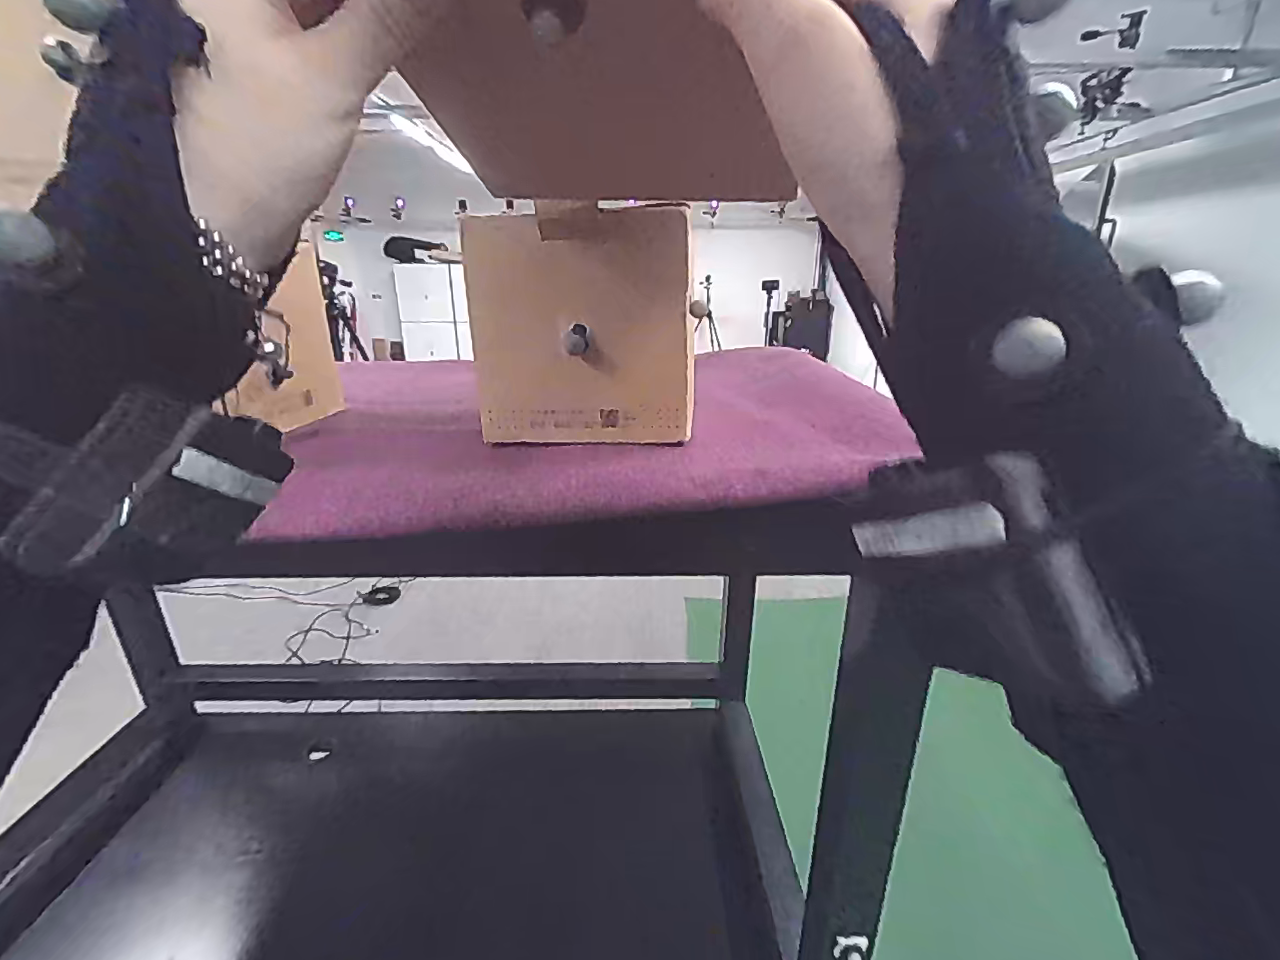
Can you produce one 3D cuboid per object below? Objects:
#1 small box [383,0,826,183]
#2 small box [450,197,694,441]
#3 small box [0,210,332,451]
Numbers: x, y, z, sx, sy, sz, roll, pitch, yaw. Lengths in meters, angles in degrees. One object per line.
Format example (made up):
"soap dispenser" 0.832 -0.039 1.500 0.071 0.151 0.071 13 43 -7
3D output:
"small box" -0.009 -0.246 0.220 0.179 0.168 0.176 5 -1 7
"small box" -0.038 -0.132 0.467 0.168 0.176 0.179 0 18 6
"small box" -0.400 -0.123 0.461 0.179 0.176 0.168 0 19 -1
